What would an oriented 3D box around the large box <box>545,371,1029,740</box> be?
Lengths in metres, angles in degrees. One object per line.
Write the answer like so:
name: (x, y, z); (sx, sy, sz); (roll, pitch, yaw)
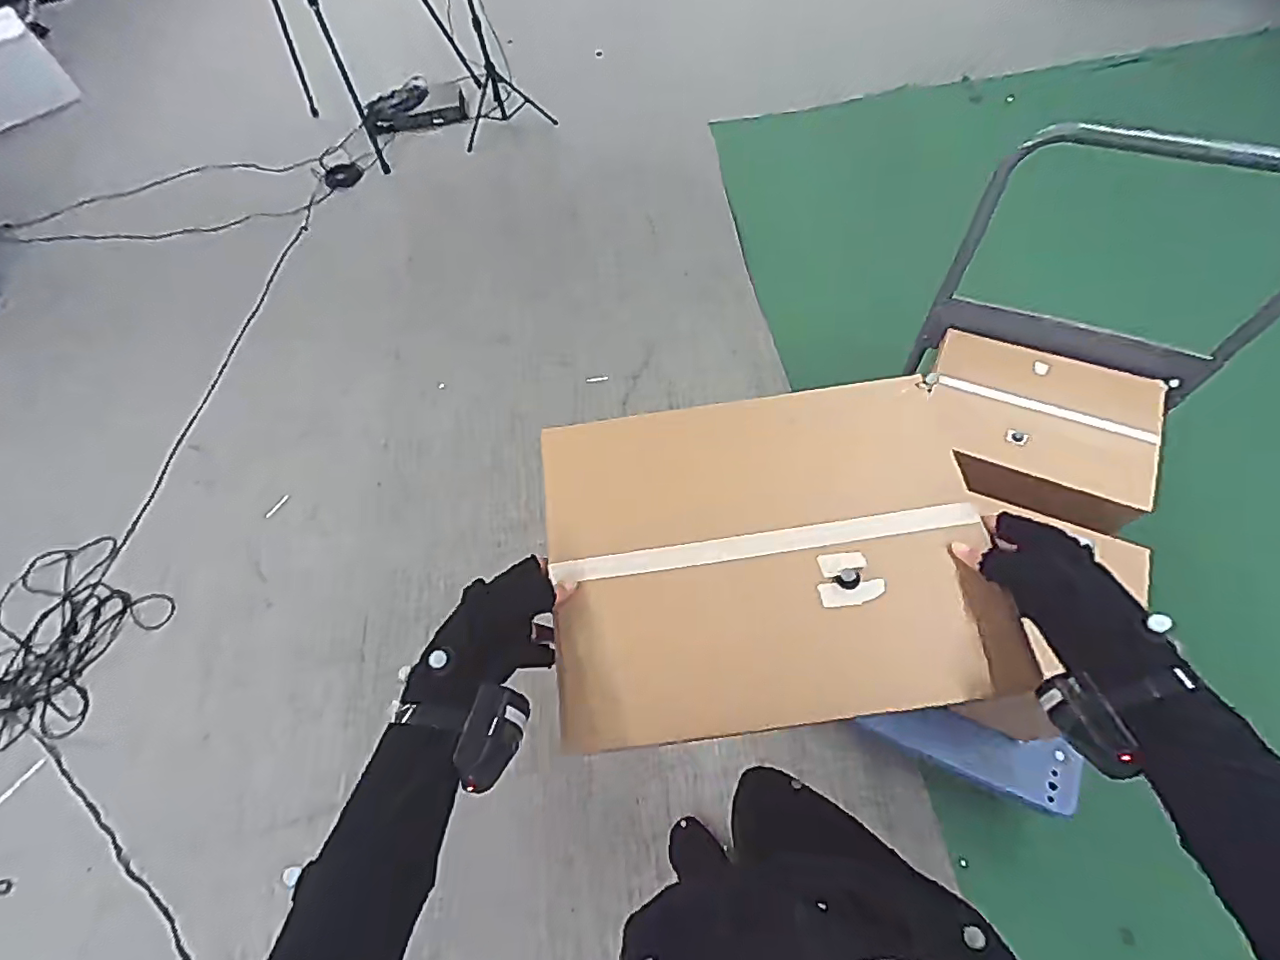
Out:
large box: (0.122, 0.111, 0.650); (0.408, 0.320, 0.320); (-8, 66, 0)
